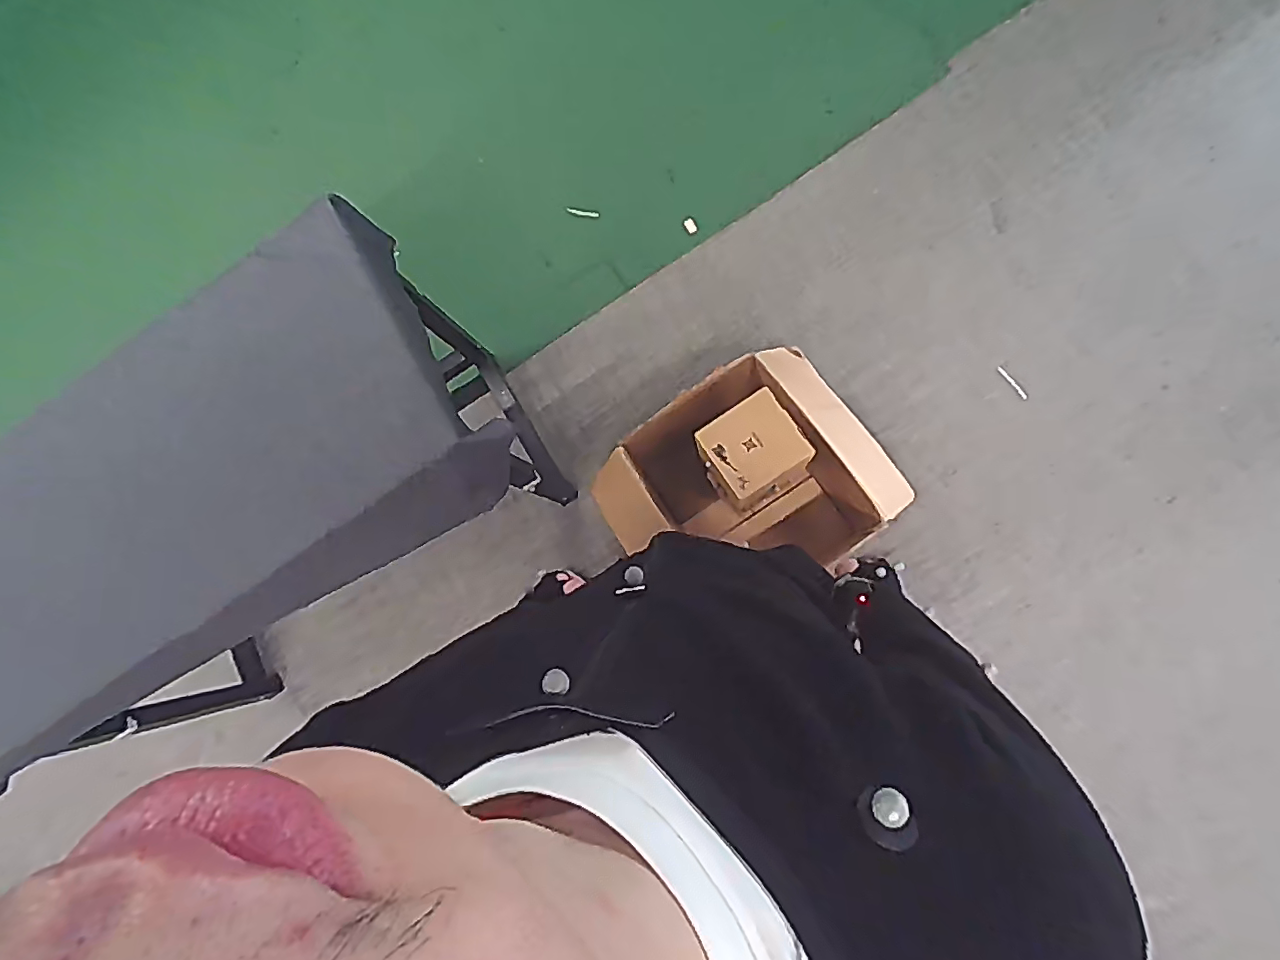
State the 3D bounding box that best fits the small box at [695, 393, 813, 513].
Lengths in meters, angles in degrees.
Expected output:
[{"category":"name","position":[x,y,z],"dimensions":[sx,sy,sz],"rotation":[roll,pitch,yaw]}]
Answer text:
[{"category":"small box","position":[0.230,-0.048,1.131],"dimensions":[0.179,0.176,0.168],"rotation":[-33,76,1]}]
